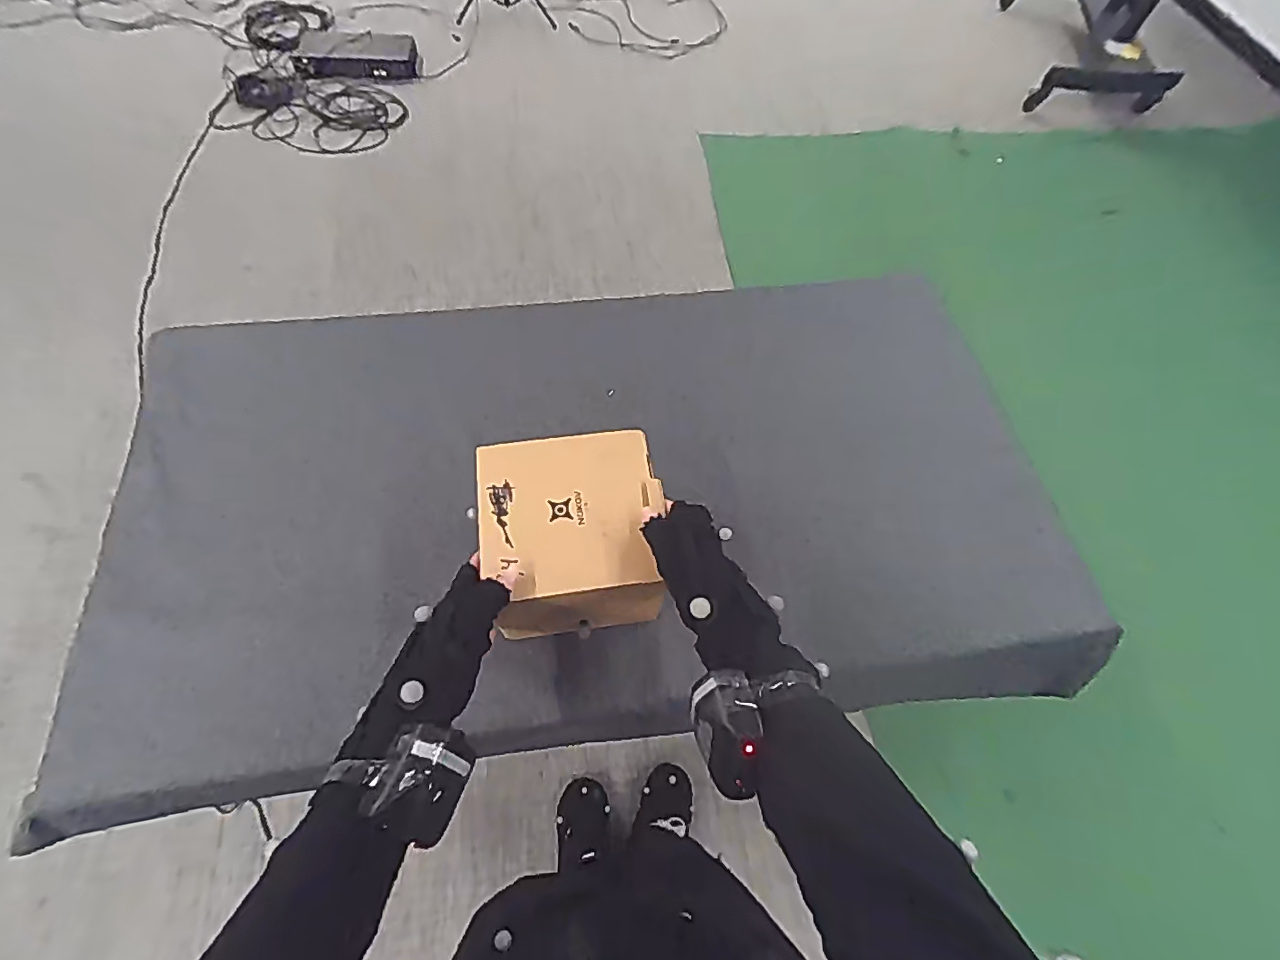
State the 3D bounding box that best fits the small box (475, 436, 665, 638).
[{"bbox_3d":[-0.078,0.069,0.598,0.179,0.176,0.168,-6,64,-7],"label":"small box"}]
